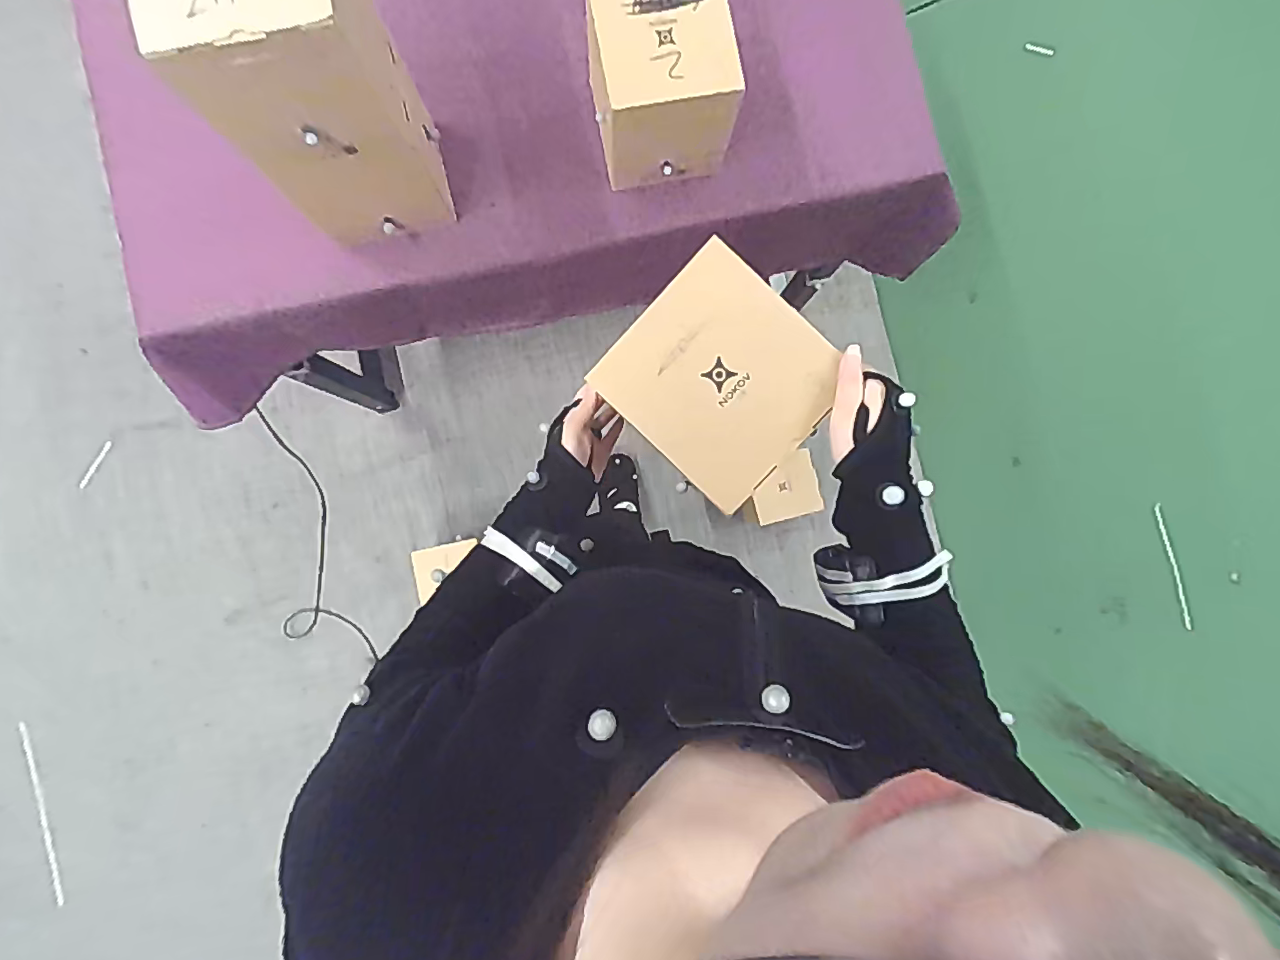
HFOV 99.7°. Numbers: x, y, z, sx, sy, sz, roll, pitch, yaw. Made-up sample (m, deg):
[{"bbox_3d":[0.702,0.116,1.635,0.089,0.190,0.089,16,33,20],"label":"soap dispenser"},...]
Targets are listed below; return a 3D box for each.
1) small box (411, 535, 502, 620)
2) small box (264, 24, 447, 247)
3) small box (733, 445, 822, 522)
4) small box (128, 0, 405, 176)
[{"bbox_3d":[-0.467,0.245,1.401,0.168,0.176,0.179,-12,87,-3],"label":"small box"},{"bbox_3d":[-0.368,-0.434,0.708,0.179,0.176,0.168,-15,87,-4],"label":"small box"},{"bbox_3d":[0.358,0.014,1.451,0.179,0.176,0.168,-15,88,-4],"label":"small box"},{"bbox_3d":[-0.362,-0.448,0.543,0.168,0.176,0.179,-13,88,-3],"label":"small box"}]
